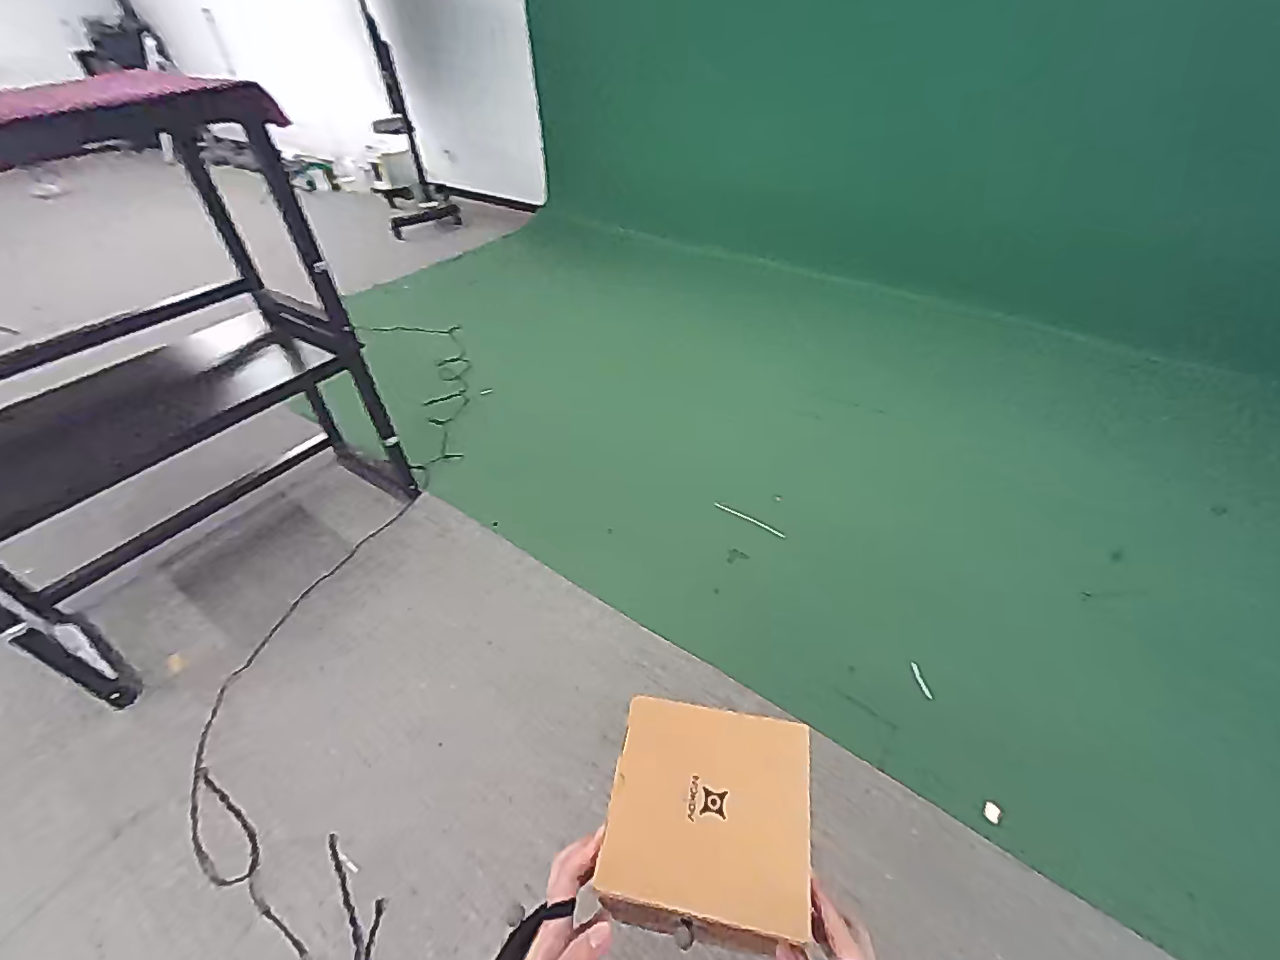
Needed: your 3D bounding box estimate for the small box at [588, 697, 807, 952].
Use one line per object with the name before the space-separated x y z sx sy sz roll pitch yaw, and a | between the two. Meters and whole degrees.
small box | 0.064 0.342 0.537 0.179 0.176 0.168 4 46 12
